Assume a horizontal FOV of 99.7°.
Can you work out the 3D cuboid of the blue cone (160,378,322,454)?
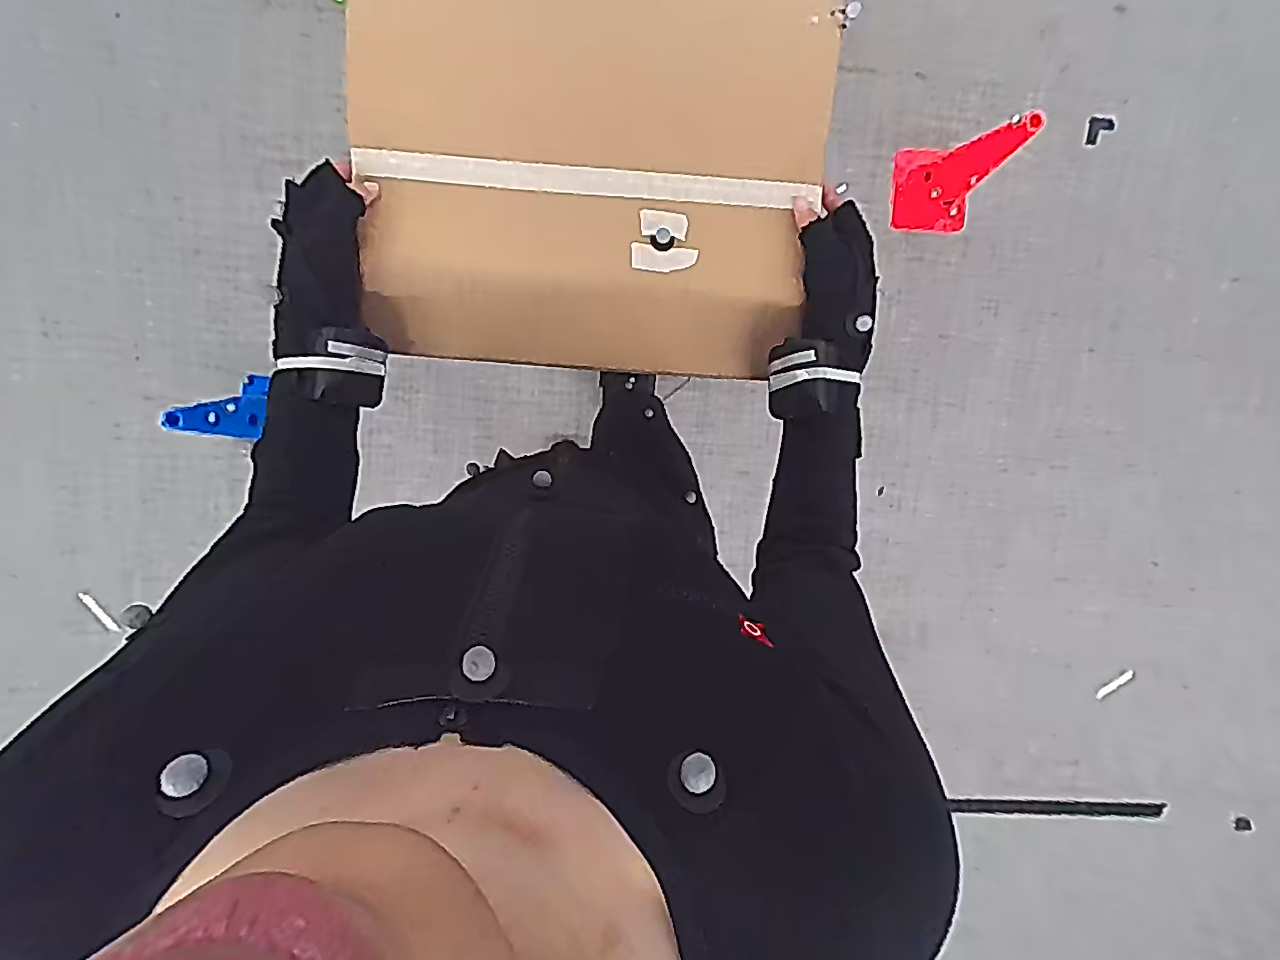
[{"bbox_3d":[-0.917,-0.142,1.240,0.192,0.380,0.193,7,97,-3],"label":"blue cone"}]

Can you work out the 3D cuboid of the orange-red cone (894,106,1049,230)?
[{"bbox_3d":[0.770,-0.737,1.231,0.198,0.360,0.199,1,96,-4],"label":"orange-red cone"}]

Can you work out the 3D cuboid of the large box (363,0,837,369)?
[{"bbox_3d":[-0.045,-0.297,0.622,0.408,0.320,0.320,3,102,-3],"label":"large box"}]
